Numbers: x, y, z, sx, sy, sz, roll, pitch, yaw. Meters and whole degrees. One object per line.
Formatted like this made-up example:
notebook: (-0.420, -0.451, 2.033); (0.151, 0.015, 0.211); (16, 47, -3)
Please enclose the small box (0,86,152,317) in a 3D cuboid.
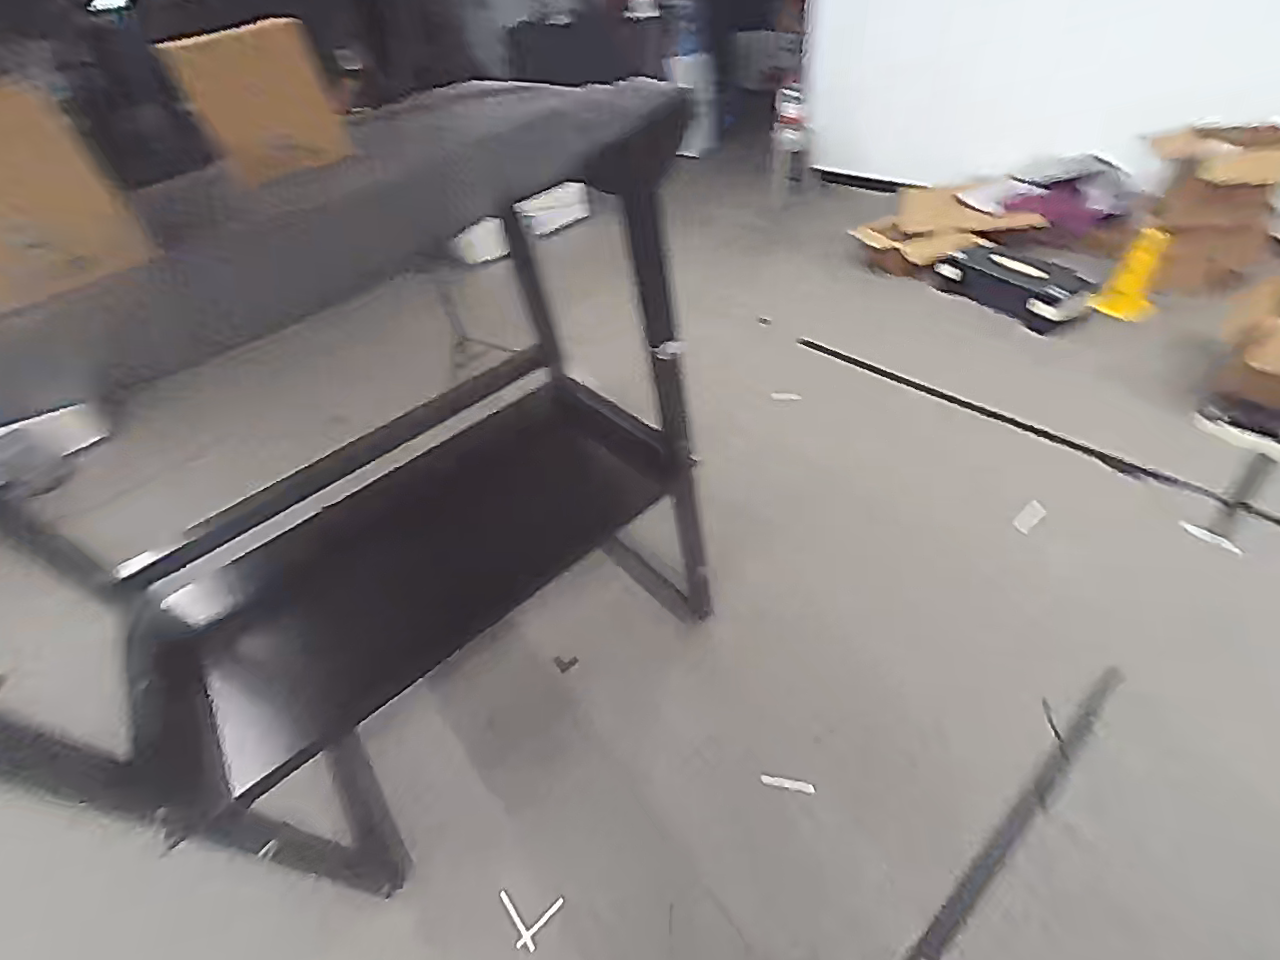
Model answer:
small box: (-0.671, -0.293, 0.569); (0.168, 0.176, 0.179); (-37, 49, -23)
